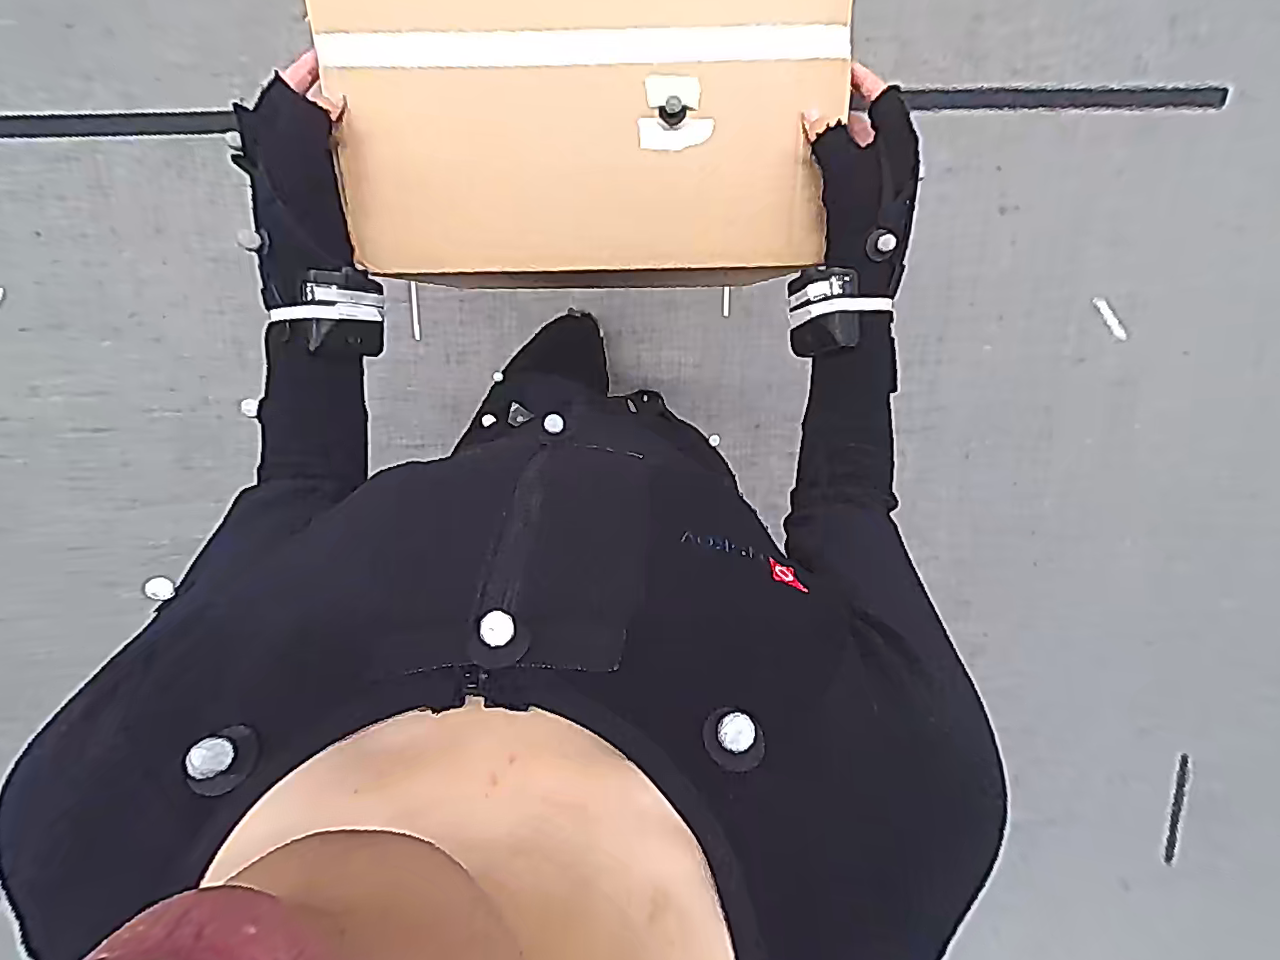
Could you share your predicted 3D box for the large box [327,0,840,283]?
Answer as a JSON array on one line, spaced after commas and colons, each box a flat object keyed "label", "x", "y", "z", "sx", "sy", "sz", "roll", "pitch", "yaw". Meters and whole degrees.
[{"label": "large box", "x": -0.046, "y": -0.386, "z": 0.567, "sx": 0.408, "sy": 0.320, "sz": 0.320, "roll": -2, "pitch": 107, "yaw": -1}]
